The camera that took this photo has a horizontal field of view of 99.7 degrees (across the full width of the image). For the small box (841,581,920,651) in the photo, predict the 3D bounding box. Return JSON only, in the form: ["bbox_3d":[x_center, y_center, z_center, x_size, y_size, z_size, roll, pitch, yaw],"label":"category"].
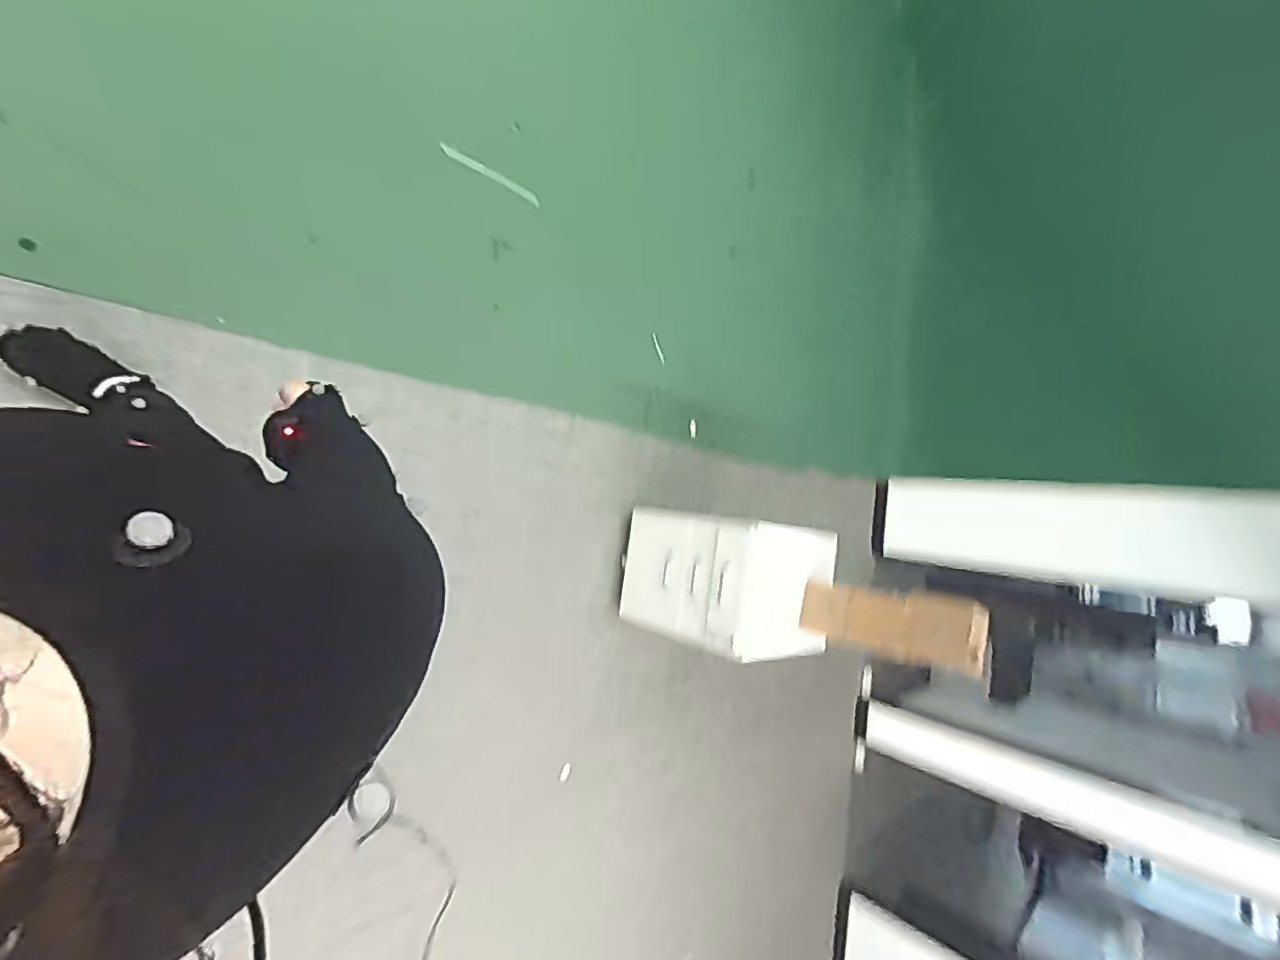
[{"bbox_3d":[0.749,0.421,1.688,0.168,0.176,0.179,19,79,-42],"label":"small box"}]

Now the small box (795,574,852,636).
[{"bbox_3d":[0.639,0.419,1.808,0.168,0.176,0.179,20,78,-42],"label":"small box"}]
